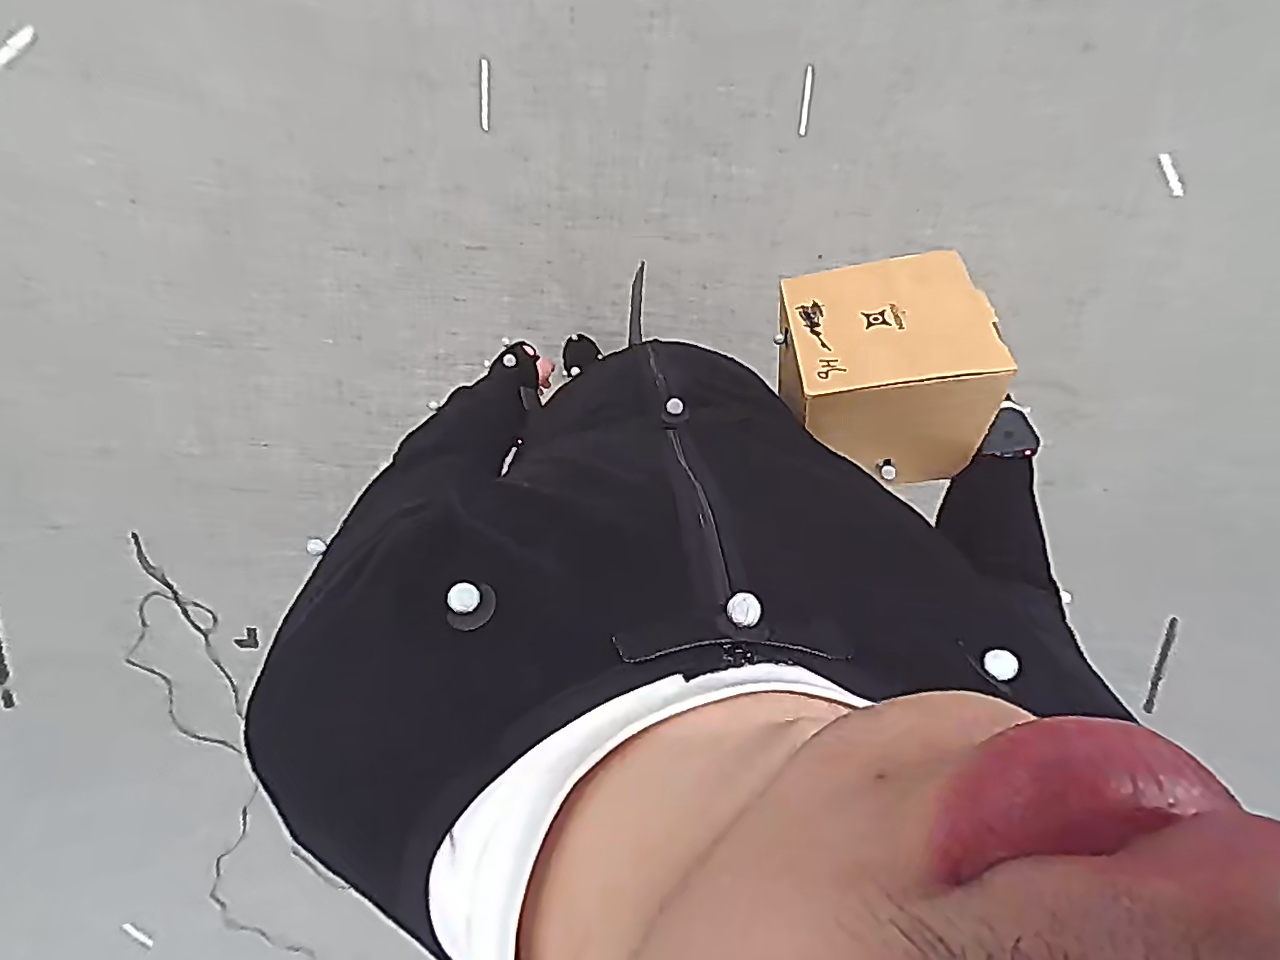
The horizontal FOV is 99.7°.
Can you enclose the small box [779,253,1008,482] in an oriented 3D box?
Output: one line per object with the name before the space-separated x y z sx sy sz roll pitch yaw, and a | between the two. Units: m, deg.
small box | 0.252 -0.114 0.592 0.179 0.168 0.176 -6 146 10
